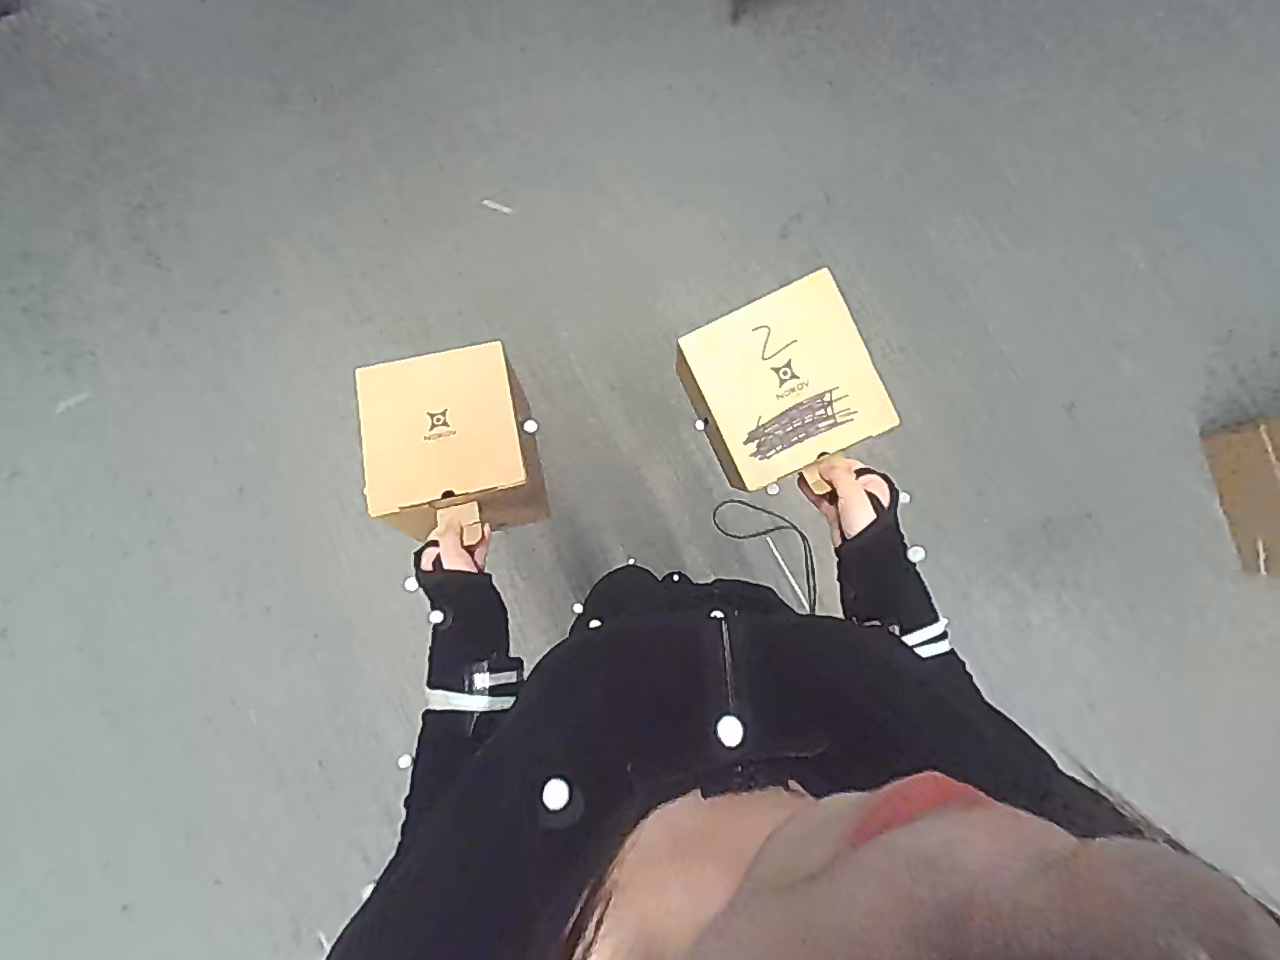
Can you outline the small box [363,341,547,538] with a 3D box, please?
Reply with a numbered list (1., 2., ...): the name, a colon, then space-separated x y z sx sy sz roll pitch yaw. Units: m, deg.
1. small box: -0.215 -0.041 0.659 0.168 0.176 0.179 -11 75 -5
